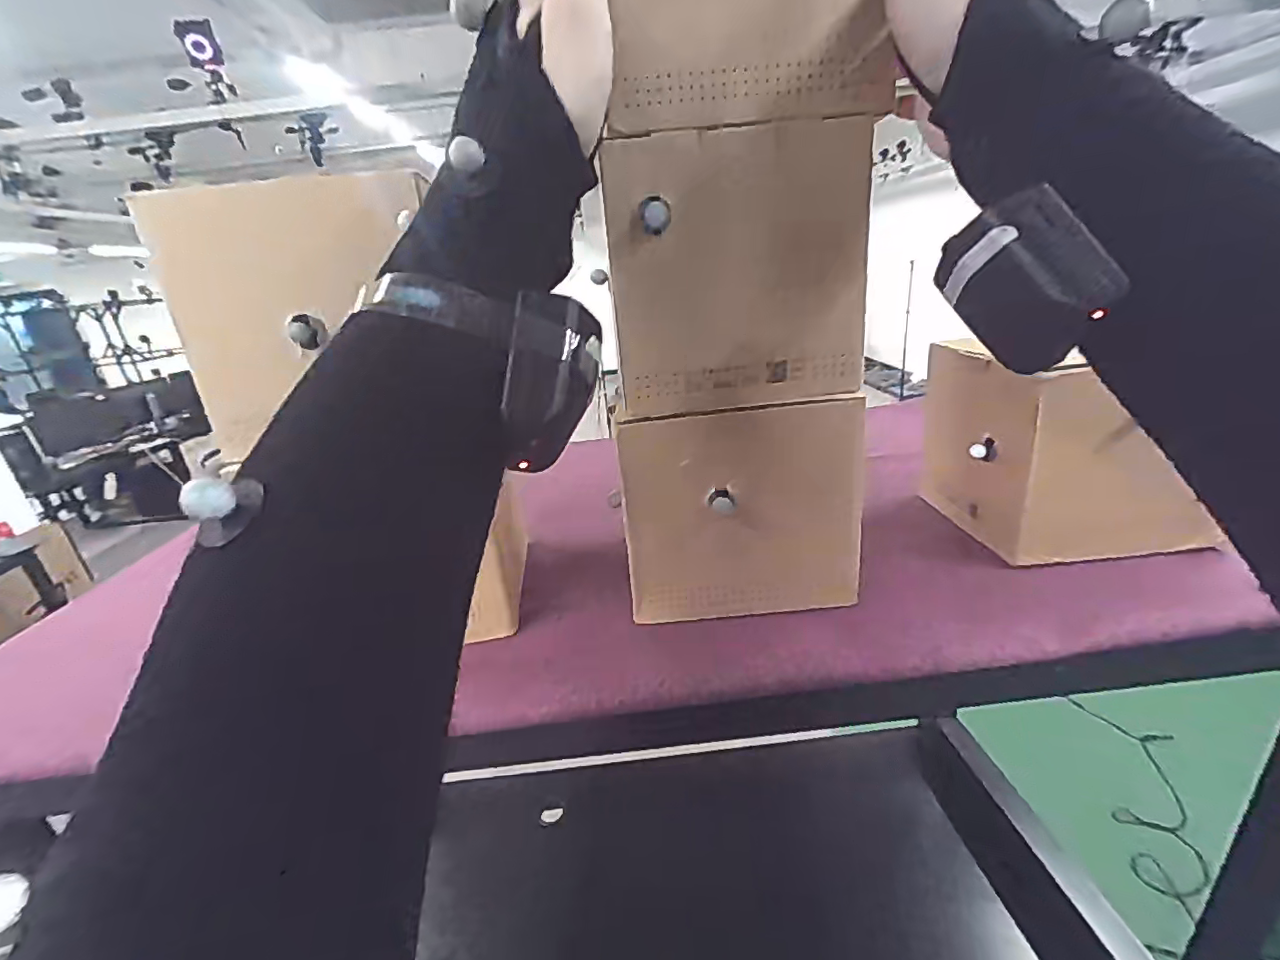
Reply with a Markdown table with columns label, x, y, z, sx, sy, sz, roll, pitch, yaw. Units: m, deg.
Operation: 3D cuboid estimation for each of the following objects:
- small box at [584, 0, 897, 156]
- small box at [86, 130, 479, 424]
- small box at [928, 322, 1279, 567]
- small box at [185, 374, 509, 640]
| label | x | y | z | sx | sy | sz | roll | pitch | yaw |
| --- | --- | --- | --- | --- | --- | --- | --- | --- | --- |
| small box | 0.053 | -0.319 | 0.346 | 0.179 | 0.176 | 0.168 | -4 | 20 | -1 |
| small box | -0.226 | -0.141 | 0.405 | 0.168 | 0.176 | 0.179 | -6 | 21 | -5 |
| small box | 0.368 | -0.036 | 0.463 | 0.179 | 0.176 | 0.168 | -4 | 21 | 4 |
| small box | -0.210 | 0.017 | 0.451 | 0.168 | 0.176 | 0.179 | -7 | 21 | -5 |
